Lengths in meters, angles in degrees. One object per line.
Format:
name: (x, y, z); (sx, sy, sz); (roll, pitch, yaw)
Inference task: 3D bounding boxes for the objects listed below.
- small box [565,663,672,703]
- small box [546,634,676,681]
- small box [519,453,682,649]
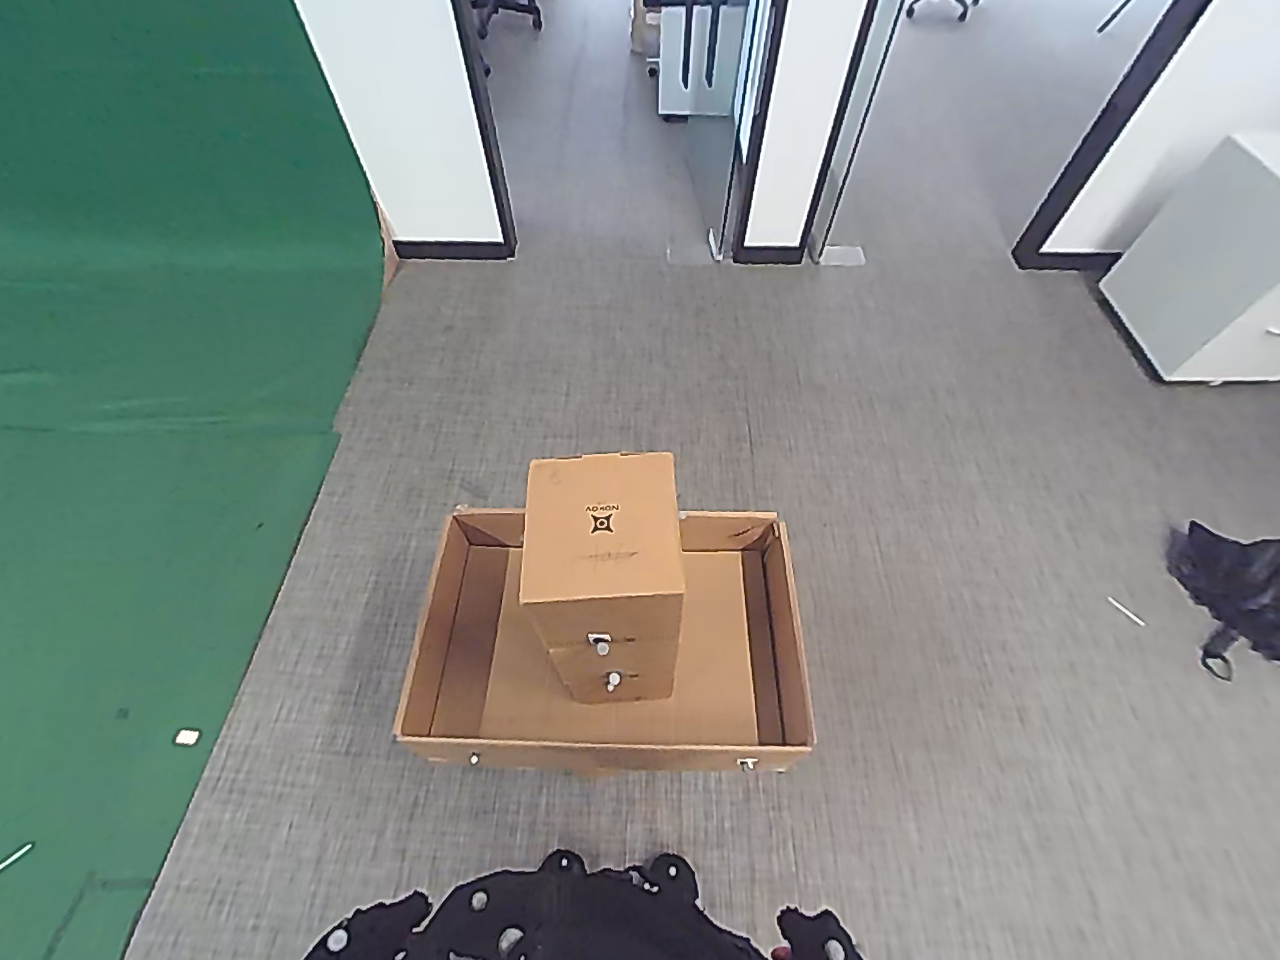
small box: (-0.035, 0.265, 0.922); (0.168, 0.176, 0.179); (-4, 55, 0)
small box: (-0.040, 0.178, 0.784); (0.168, 0.176, 0.179); (-3, 57, -1)
small box: (-0.042, 0.089, 0.649); (0.168, 0.176, 0.179); (-4, 57, 0)
